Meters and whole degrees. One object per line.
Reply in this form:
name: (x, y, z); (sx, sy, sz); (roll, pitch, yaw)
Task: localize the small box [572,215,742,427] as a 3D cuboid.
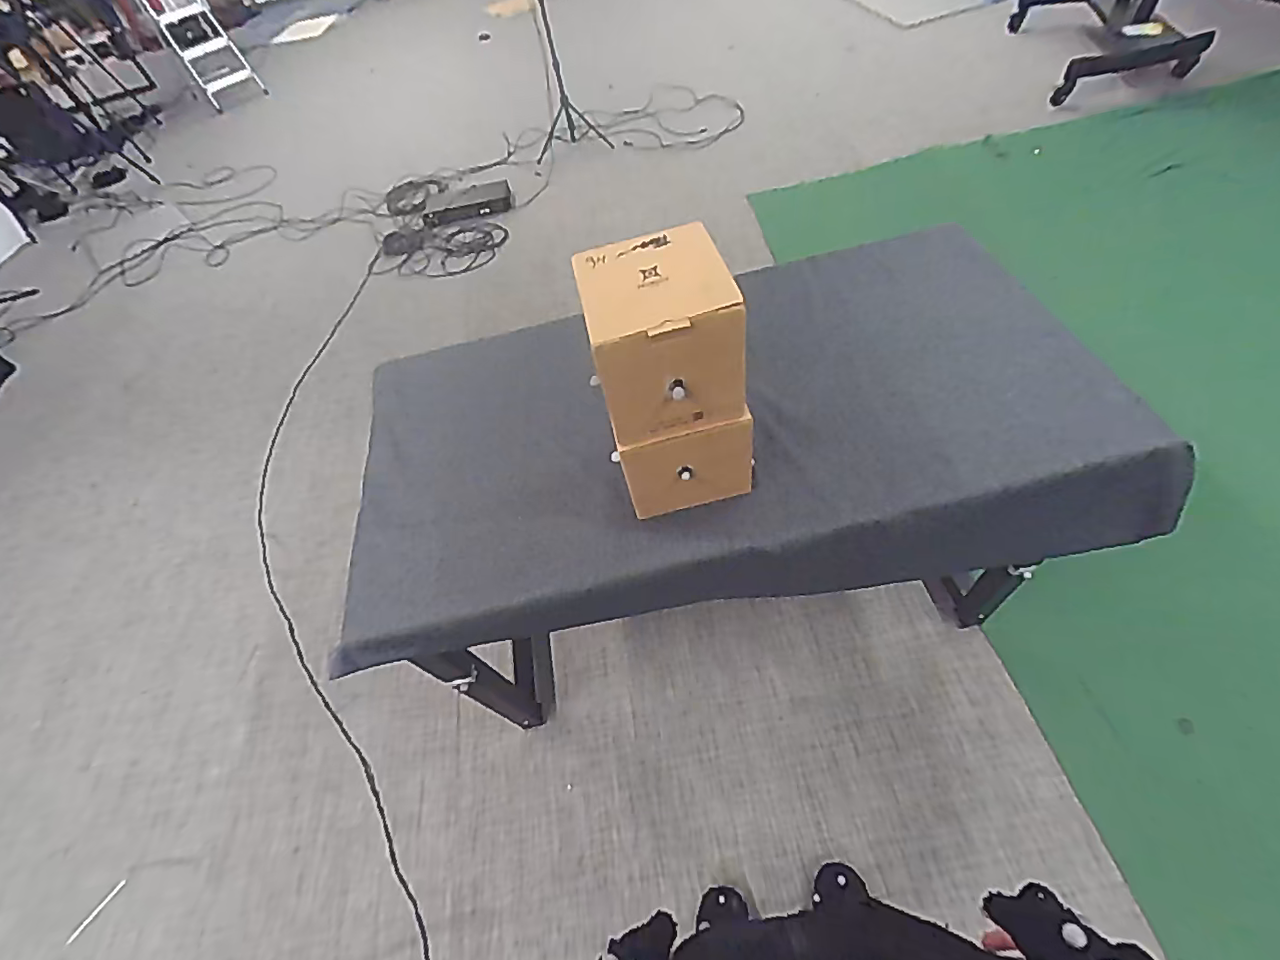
small box: (0.025, -0.184, 0.664); (0.168, 0.176, 0.179); (-14, 55, 1)

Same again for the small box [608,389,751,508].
small box: (0.054, -0.082, 0.789); (0.179, 0.176, 0.168); (-14, 54, 1)
